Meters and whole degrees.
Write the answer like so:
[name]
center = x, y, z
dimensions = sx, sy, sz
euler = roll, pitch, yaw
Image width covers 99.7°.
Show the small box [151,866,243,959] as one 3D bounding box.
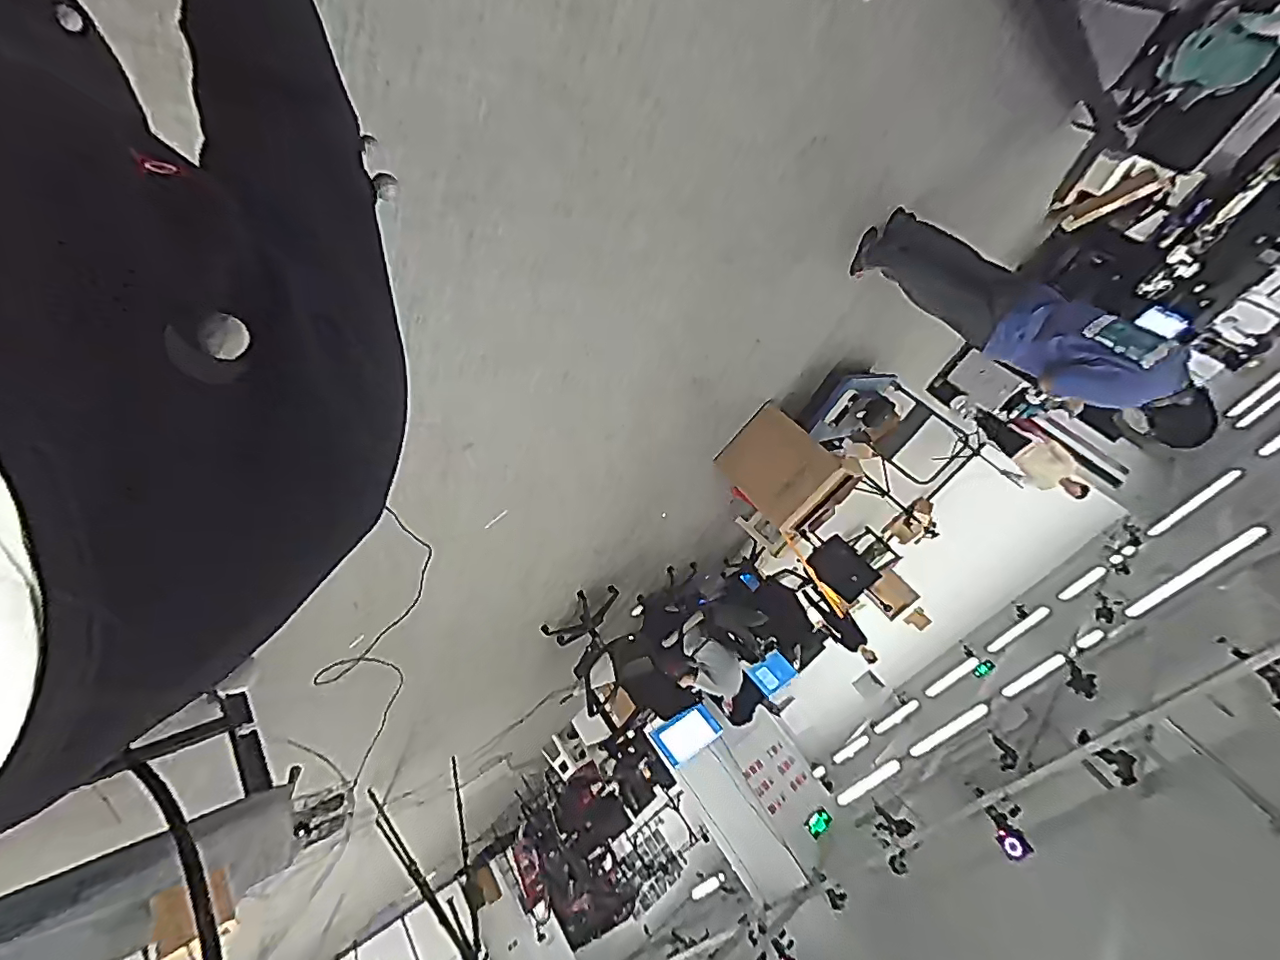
[small box]
center = -1.299, 1.286, 1.589
dimensions = 0.179, 0.176, 0.168
euler = -13, 142, -41
